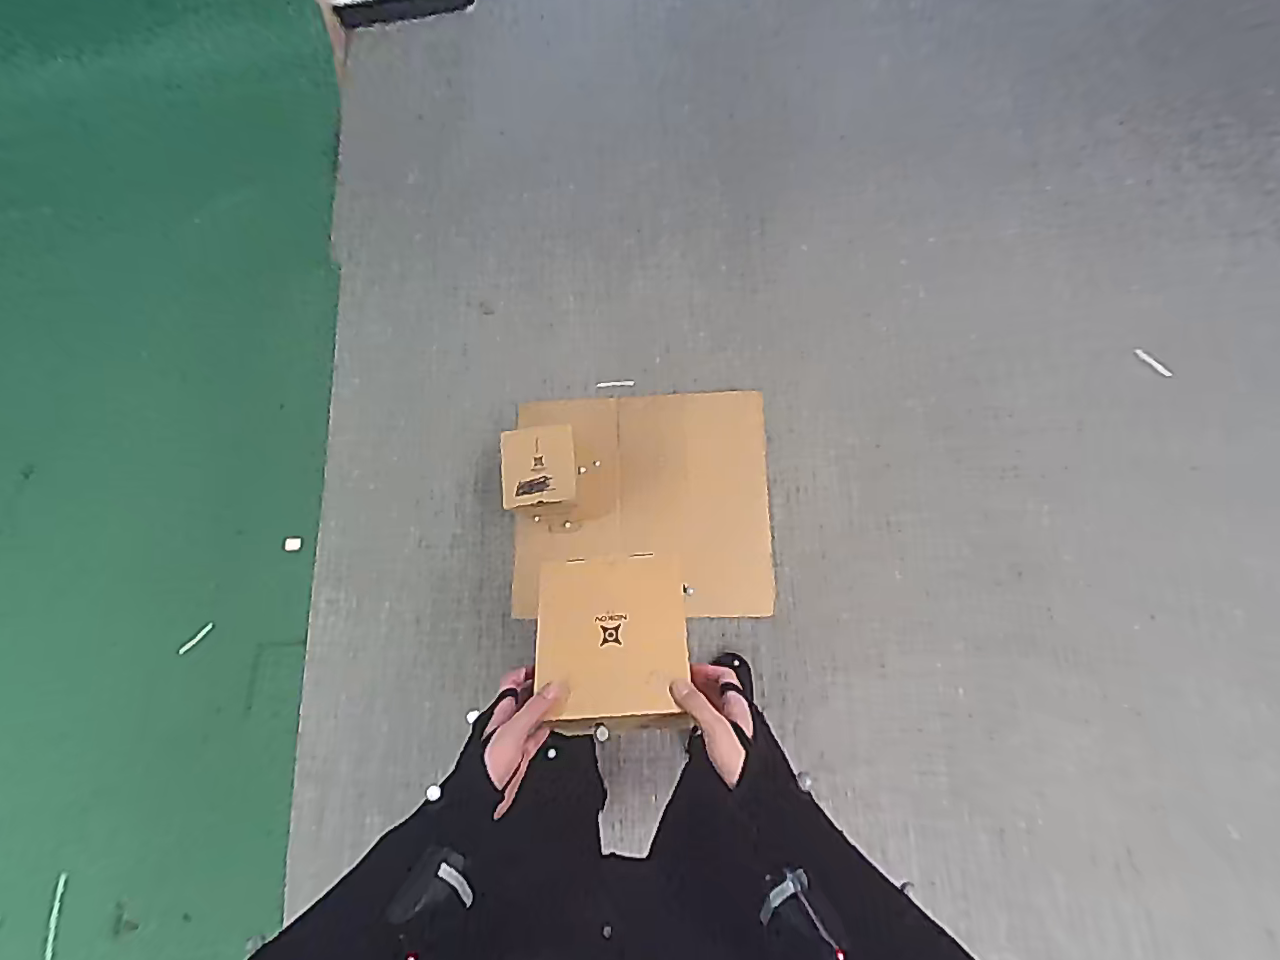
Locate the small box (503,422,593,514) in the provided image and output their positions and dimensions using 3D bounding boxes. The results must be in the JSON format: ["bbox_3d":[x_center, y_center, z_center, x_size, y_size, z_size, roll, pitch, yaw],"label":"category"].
[{"bbox_3d":[-0.207,-0.019,1.250,0.168,0.176,0.179,-6,77,6],"label":"small box"}]

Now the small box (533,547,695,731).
[{"bbox_3d":[-0.024,0.200,0.654,0.168,0.176,0.179,-6,58,3],"label":"small box"}]

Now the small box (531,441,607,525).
[{"bbox_3d":[-0.188,0.013,1.410,0.168,0.176,0.179,-10,78,5],"label":"small box"}]
